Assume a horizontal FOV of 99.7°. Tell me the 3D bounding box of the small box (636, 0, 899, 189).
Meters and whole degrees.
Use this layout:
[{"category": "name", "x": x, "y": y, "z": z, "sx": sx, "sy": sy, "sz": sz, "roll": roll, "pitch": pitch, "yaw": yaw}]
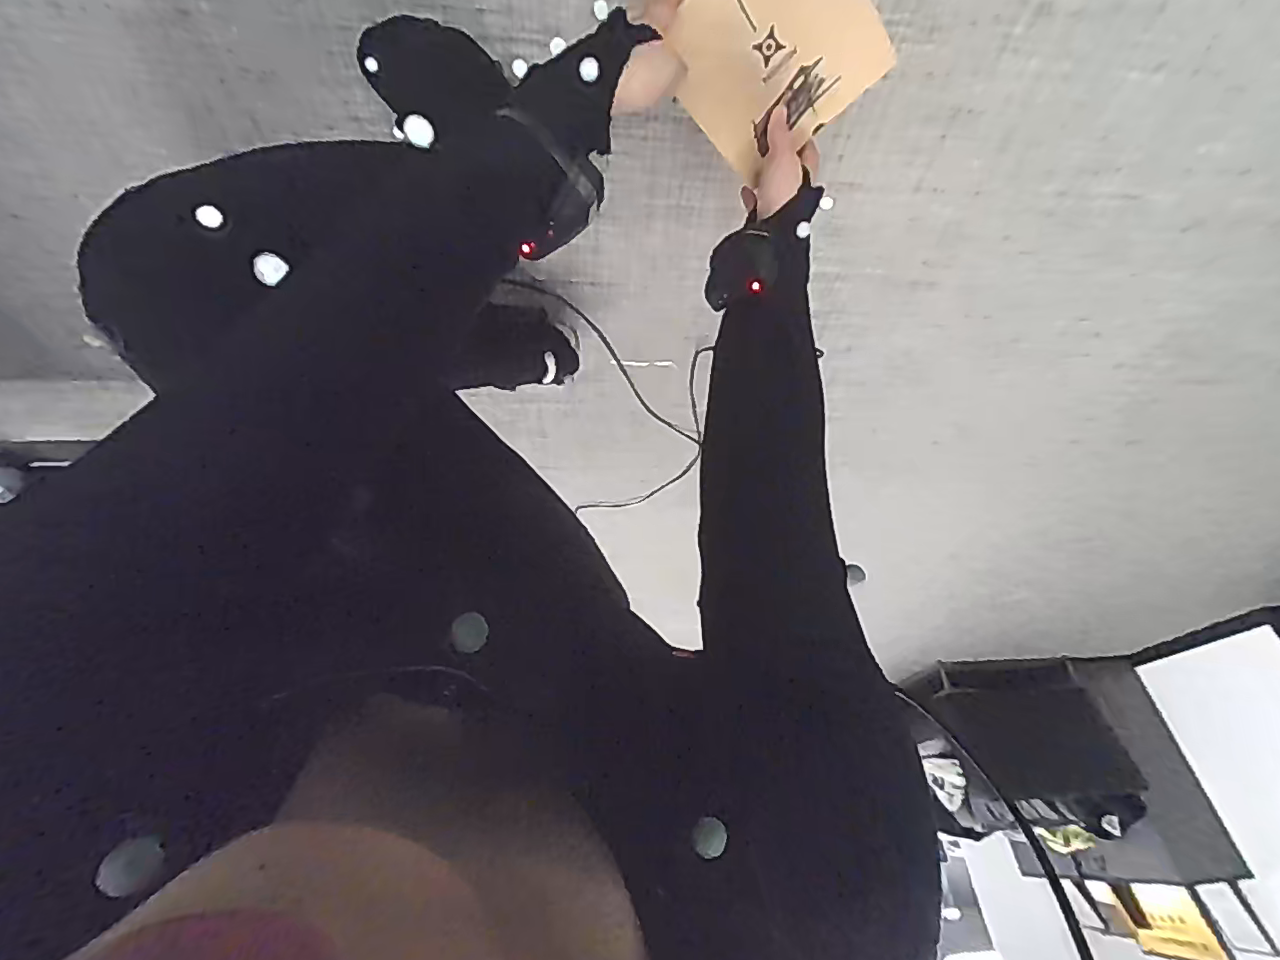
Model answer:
[{"category": "small box", "x": 0.115, "y": -0.441, "z": 0.528, "sx": 0.168, "sy": 0.176, "sz": 0.179, "roll": -33, "pitch": 137, "yaw": 30}]
